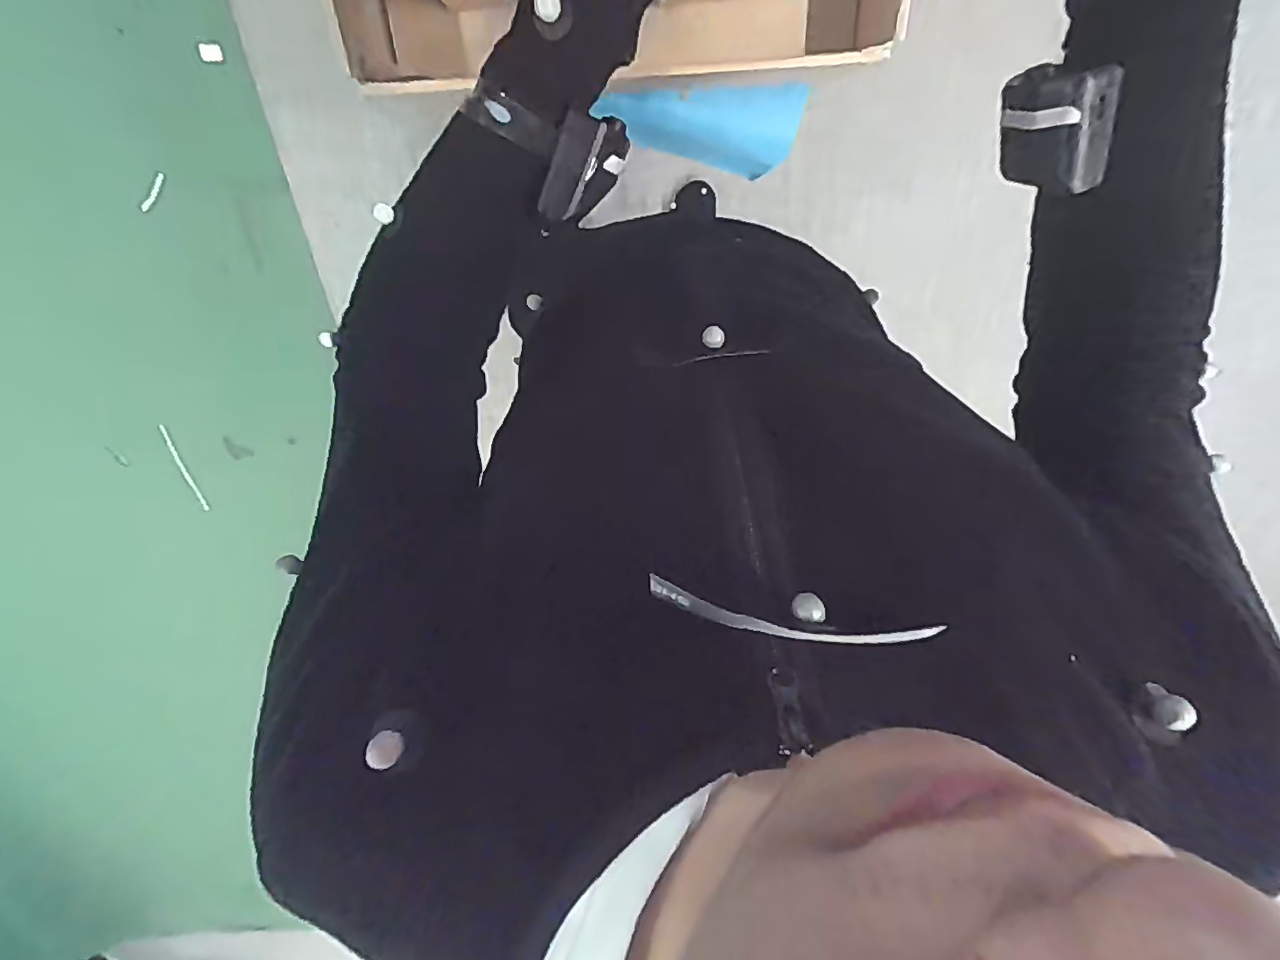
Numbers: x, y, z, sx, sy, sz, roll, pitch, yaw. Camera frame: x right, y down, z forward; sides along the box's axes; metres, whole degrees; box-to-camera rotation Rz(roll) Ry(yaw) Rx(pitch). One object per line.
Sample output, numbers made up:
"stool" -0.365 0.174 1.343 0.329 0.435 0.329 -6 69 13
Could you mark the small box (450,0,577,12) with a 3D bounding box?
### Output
"small box" -0.151 -0.623 0.567 0.179 0.176 0.168 -4 119 1
